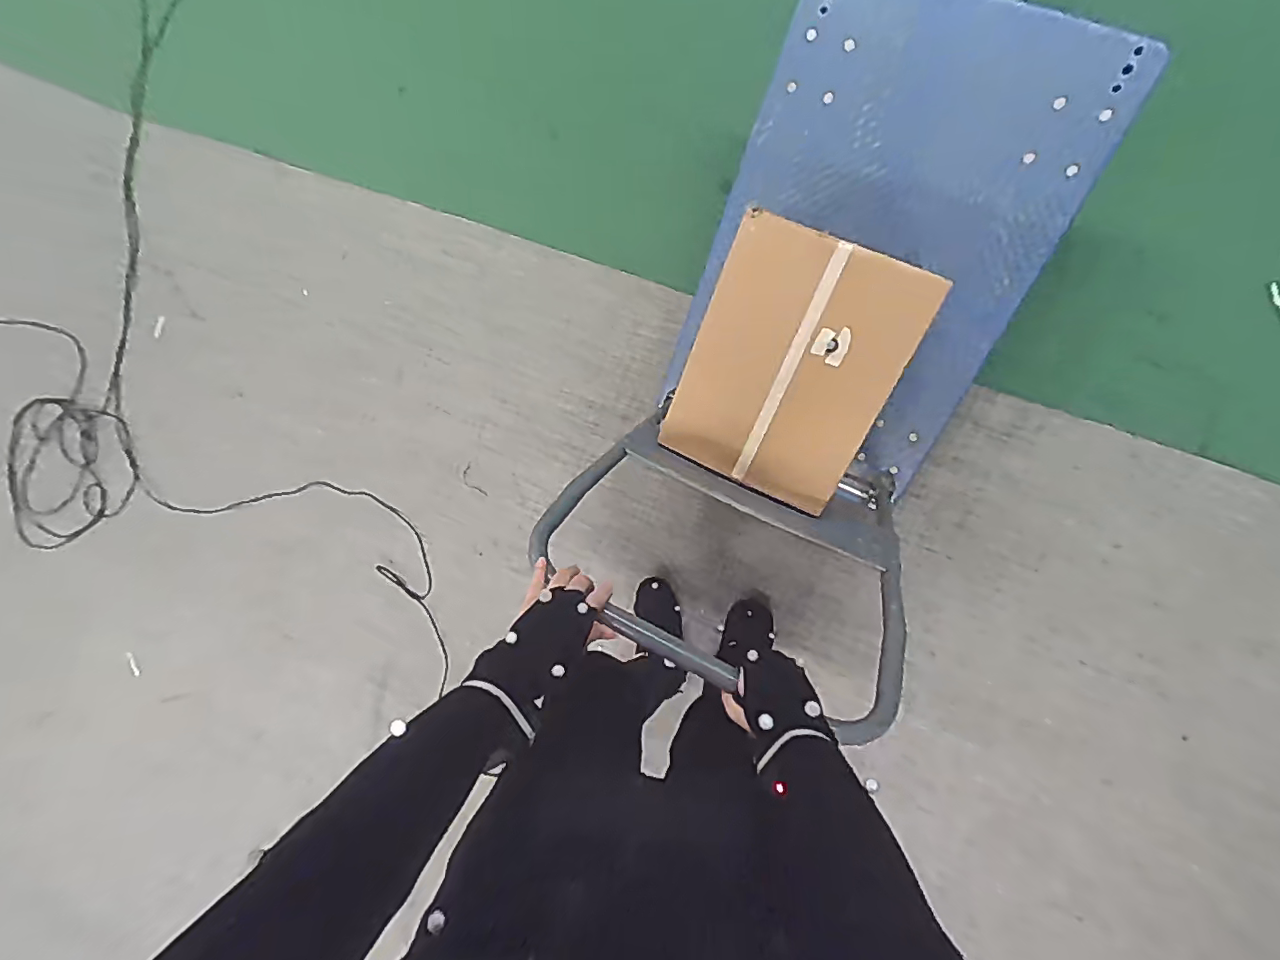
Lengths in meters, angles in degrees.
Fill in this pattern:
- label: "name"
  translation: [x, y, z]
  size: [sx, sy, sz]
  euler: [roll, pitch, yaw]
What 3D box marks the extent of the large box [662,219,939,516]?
- label: "large box"
  translation: [0.283, -0.210, 1.011]
  size: [0.320, 0.320, 0.408]
  euler: [26, 114, 10]
